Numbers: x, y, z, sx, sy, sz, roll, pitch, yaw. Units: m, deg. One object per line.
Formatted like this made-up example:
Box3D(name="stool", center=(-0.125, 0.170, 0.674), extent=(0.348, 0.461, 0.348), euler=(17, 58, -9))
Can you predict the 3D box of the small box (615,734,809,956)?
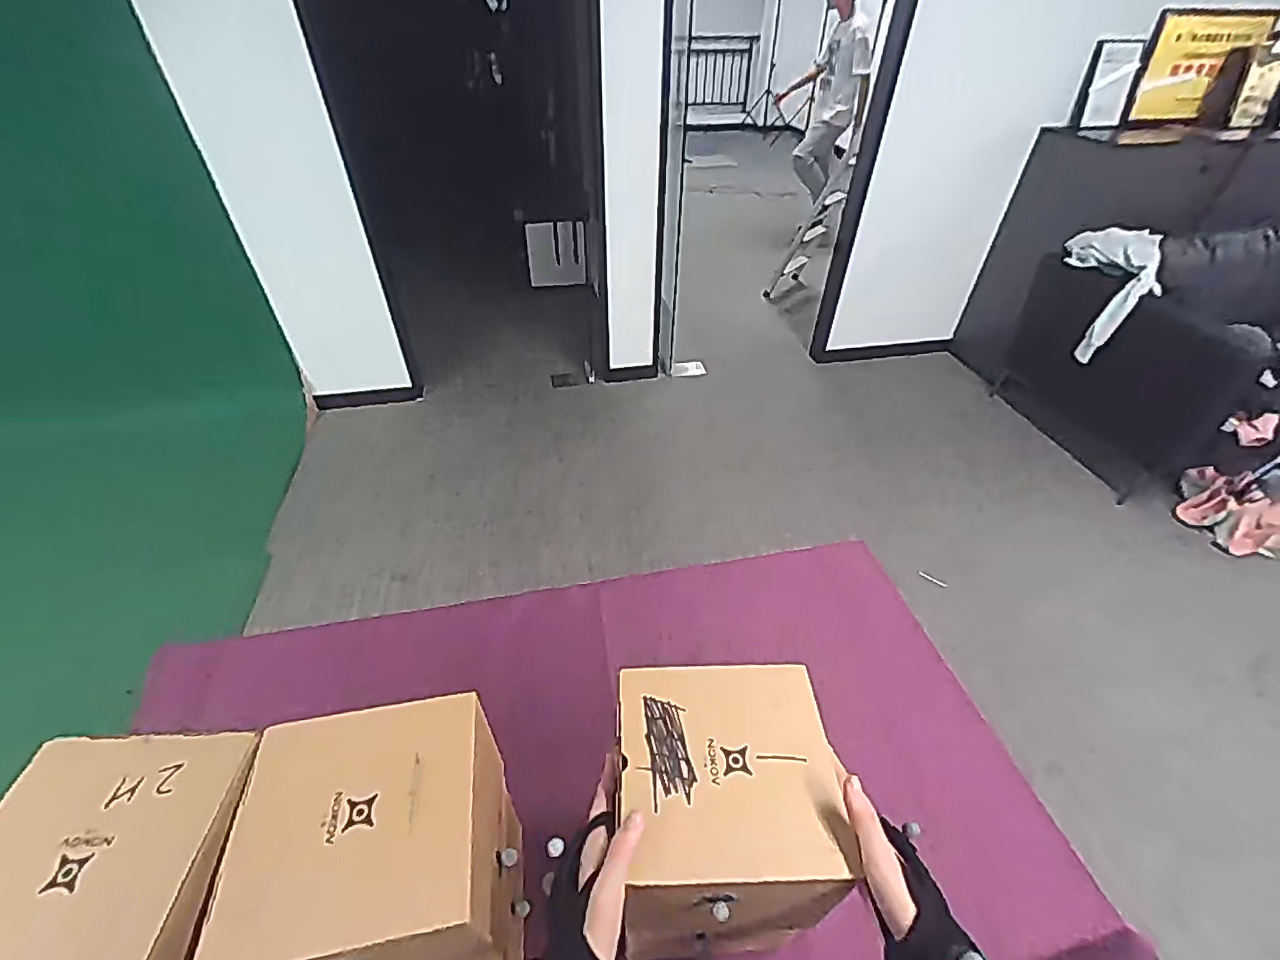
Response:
Box3D(name="small box", center=(0.064, 0.403, 0.597), extent=(0.179, 0.176, 0.168), euler=(-2, 42, -3))
